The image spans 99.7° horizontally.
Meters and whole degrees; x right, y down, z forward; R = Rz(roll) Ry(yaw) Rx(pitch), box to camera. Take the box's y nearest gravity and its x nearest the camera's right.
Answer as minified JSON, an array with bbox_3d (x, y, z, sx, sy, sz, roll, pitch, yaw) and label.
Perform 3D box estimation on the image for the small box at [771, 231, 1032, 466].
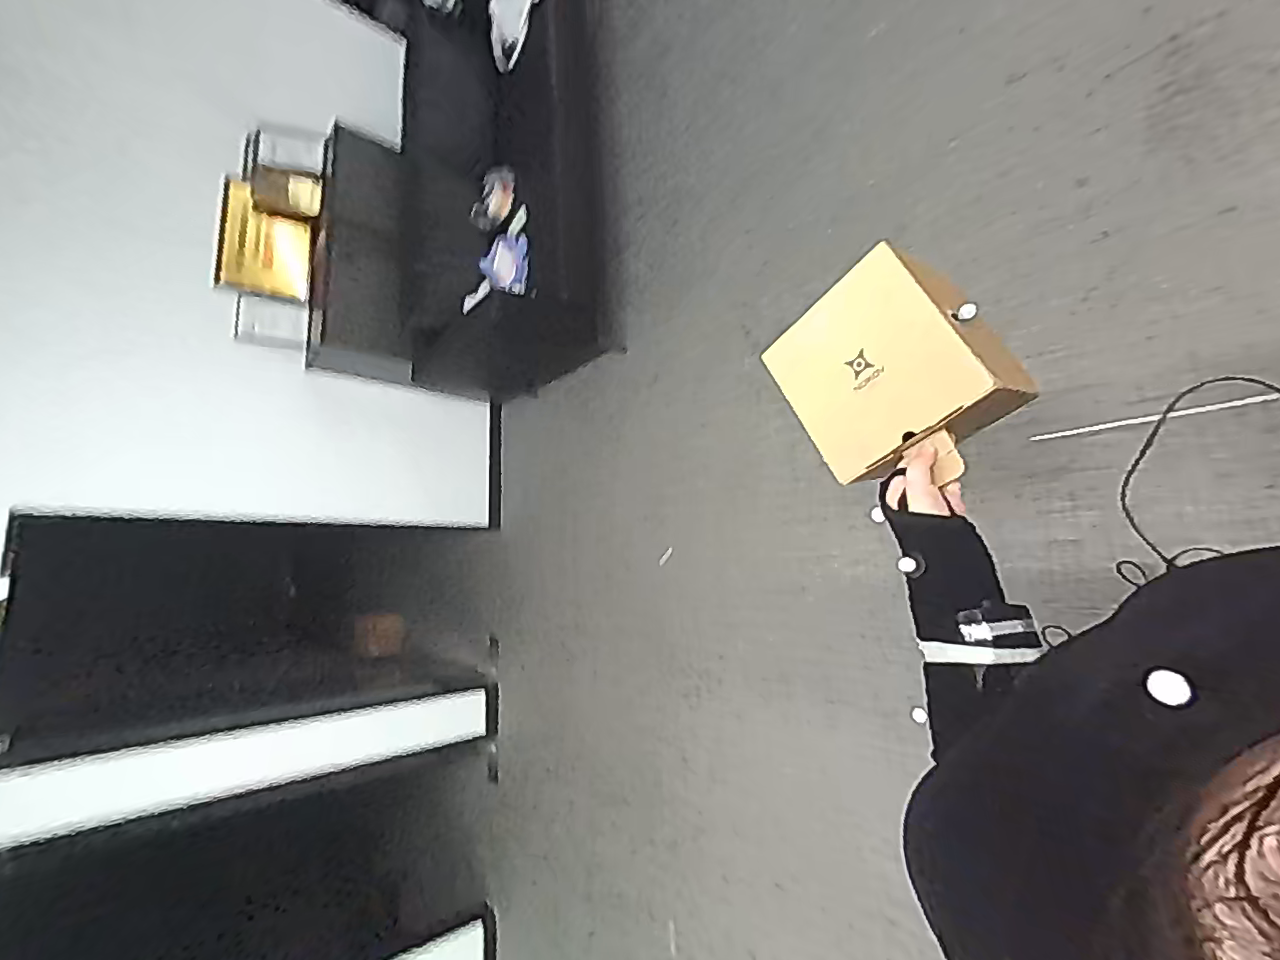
[{"bbox_3d":[0.285,-0.131,0.595,0.168,0.176,0.179,-41,67,41],"label":"small box"}]
